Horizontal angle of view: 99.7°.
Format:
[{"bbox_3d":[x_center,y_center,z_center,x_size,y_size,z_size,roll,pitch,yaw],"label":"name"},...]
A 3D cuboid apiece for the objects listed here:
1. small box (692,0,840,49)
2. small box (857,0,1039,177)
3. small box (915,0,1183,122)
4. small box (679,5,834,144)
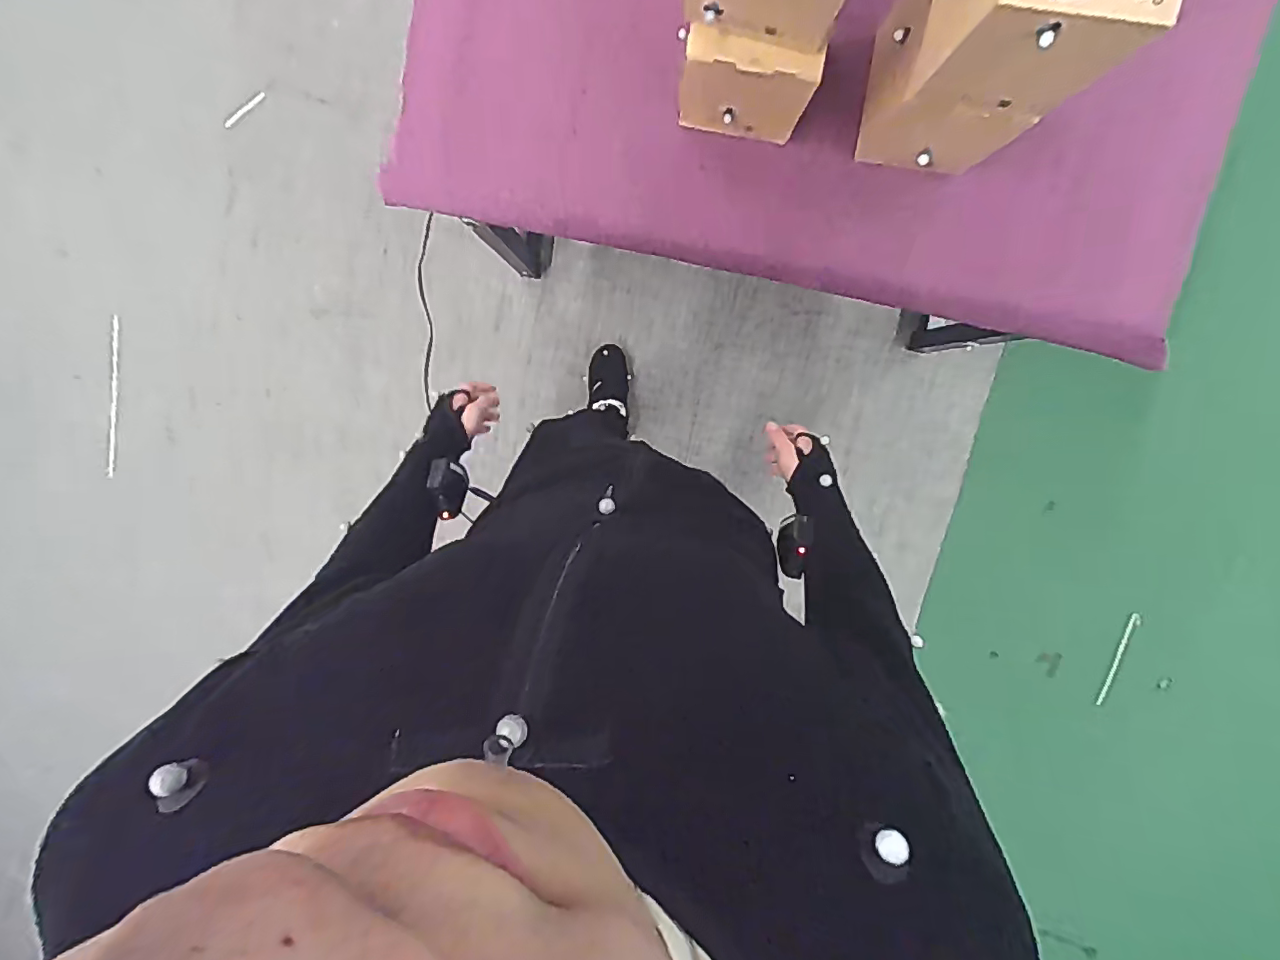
[{"bbox_3d":[0.148,-0.588,0.542,0.168,0.176,0.179,13,98,-2],"label":"small box"},{"bbox_3d":[0.409,-0.535,0.715,0.168,0.176,0.179,8,99,-1],"label":"small box"},{"bbox_3d":[0.410,-0.511,0.552,0.168,0.176,0.179,7,98,-1],"label":"small box"},{"bbox_3d":[0.148,-0.583,0.710,0.168,0.176,0.179,9,100,-2],"label":"small box"}]
